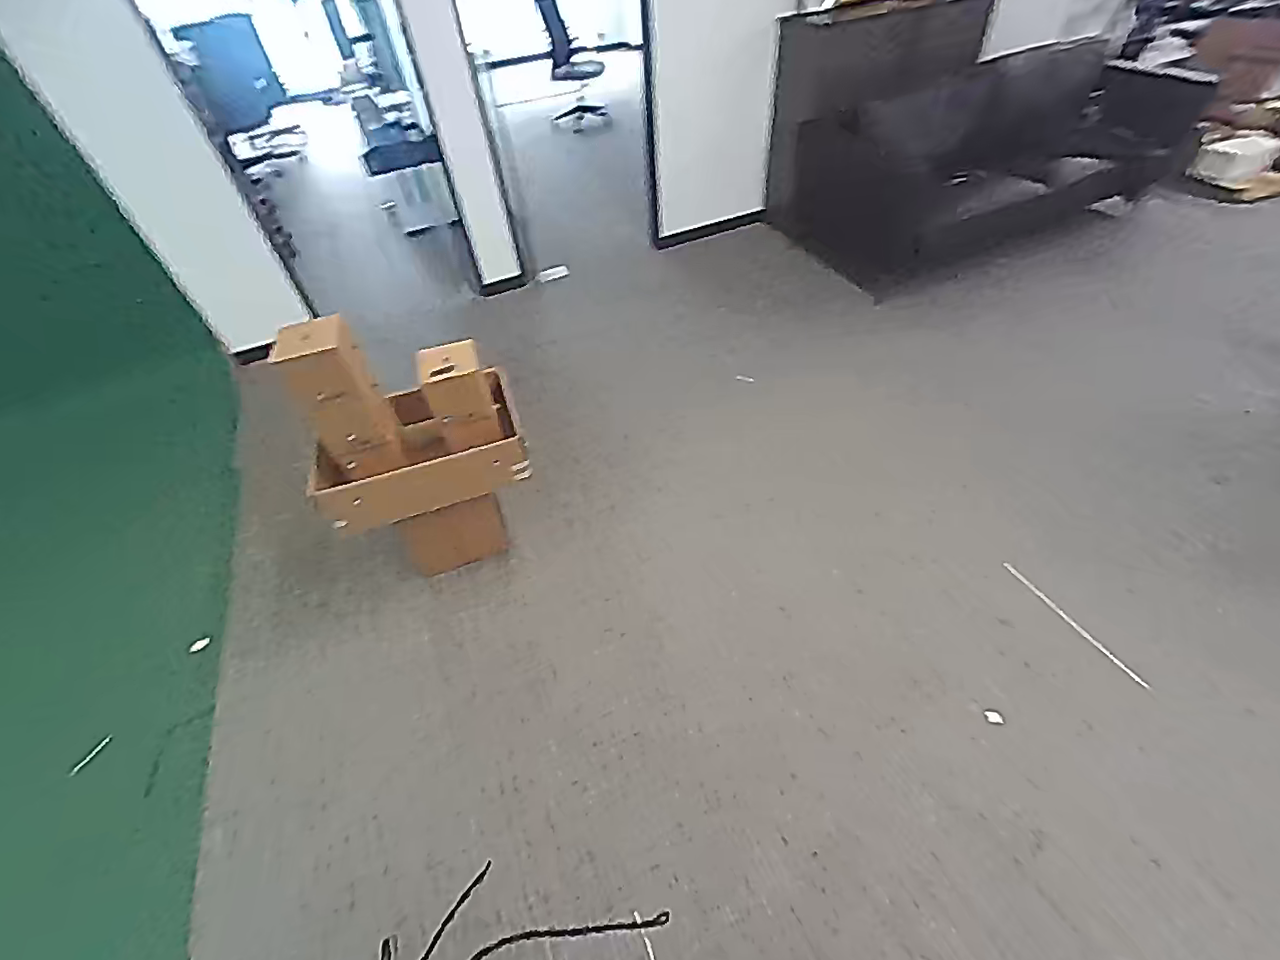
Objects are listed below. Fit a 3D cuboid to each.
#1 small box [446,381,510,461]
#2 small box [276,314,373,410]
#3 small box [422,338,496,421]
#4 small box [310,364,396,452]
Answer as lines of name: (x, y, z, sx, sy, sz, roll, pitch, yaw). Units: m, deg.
small box: (-0.533, -0.193, 1.766, 0.168, 0.176, 0.179, -17, 49, -10)
small box: (-0.846, -0.319, 1.469, 0.168, 0.176, 0.179, -17, 48, -8)
small box: (-0.546, -0.297, 1.639, 0.168, 0.176, 0.179, -15, 48, -9)
small box: (-0.834, -0.210, 1.590, 0.168, 0.176, 0.179, -16, 48, -7)
